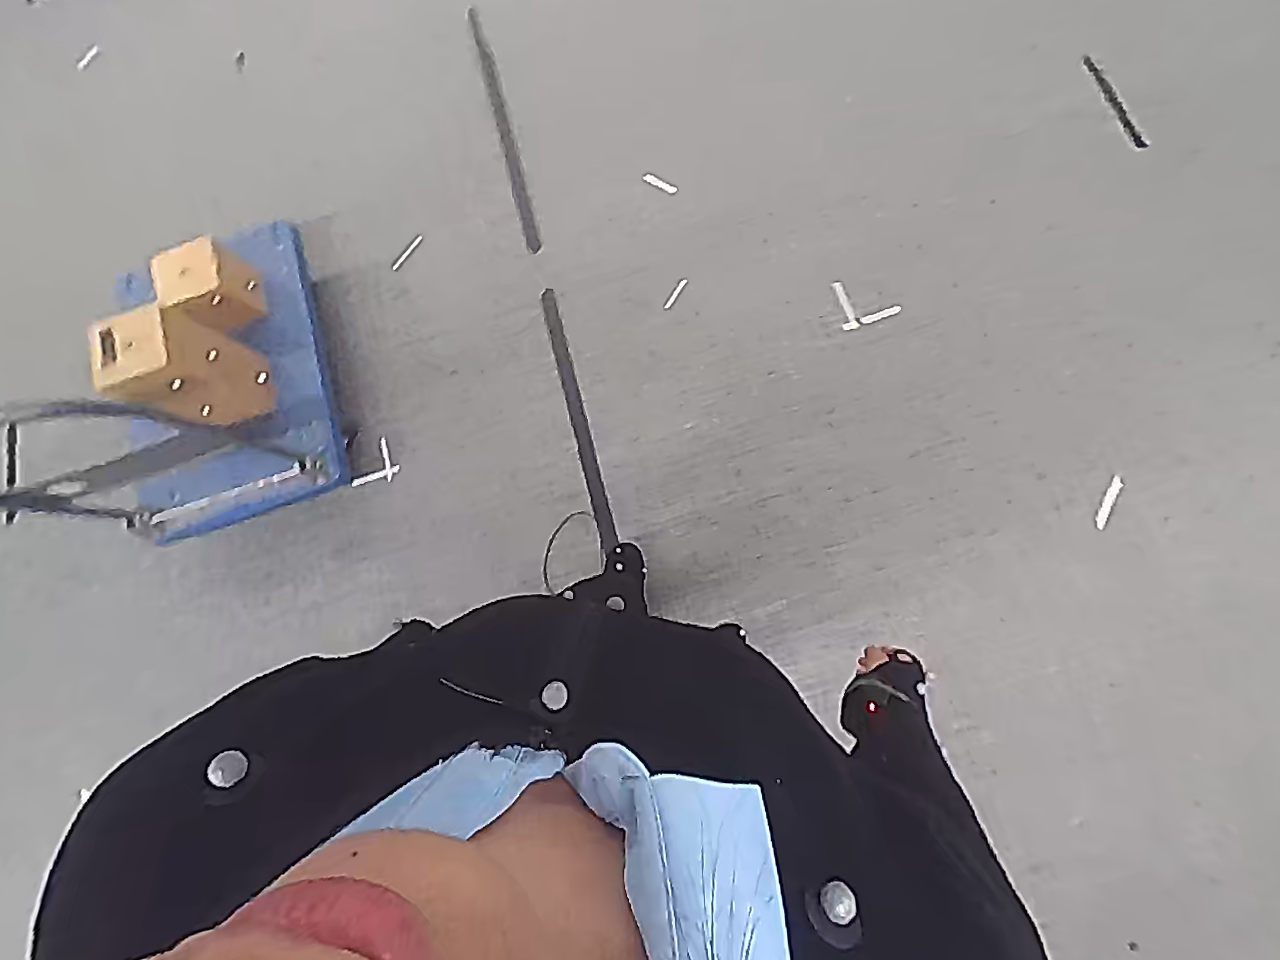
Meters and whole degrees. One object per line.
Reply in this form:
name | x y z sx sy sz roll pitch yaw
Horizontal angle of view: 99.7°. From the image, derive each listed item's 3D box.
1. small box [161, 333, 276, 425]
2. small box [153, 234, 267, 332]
small box | -1.119 -0.261 1.442 0.179 0.176 0.168 -14 78 2
small box | -1.193 -0.539 1.507 0.179 0.176 0.168 -21 78 1
